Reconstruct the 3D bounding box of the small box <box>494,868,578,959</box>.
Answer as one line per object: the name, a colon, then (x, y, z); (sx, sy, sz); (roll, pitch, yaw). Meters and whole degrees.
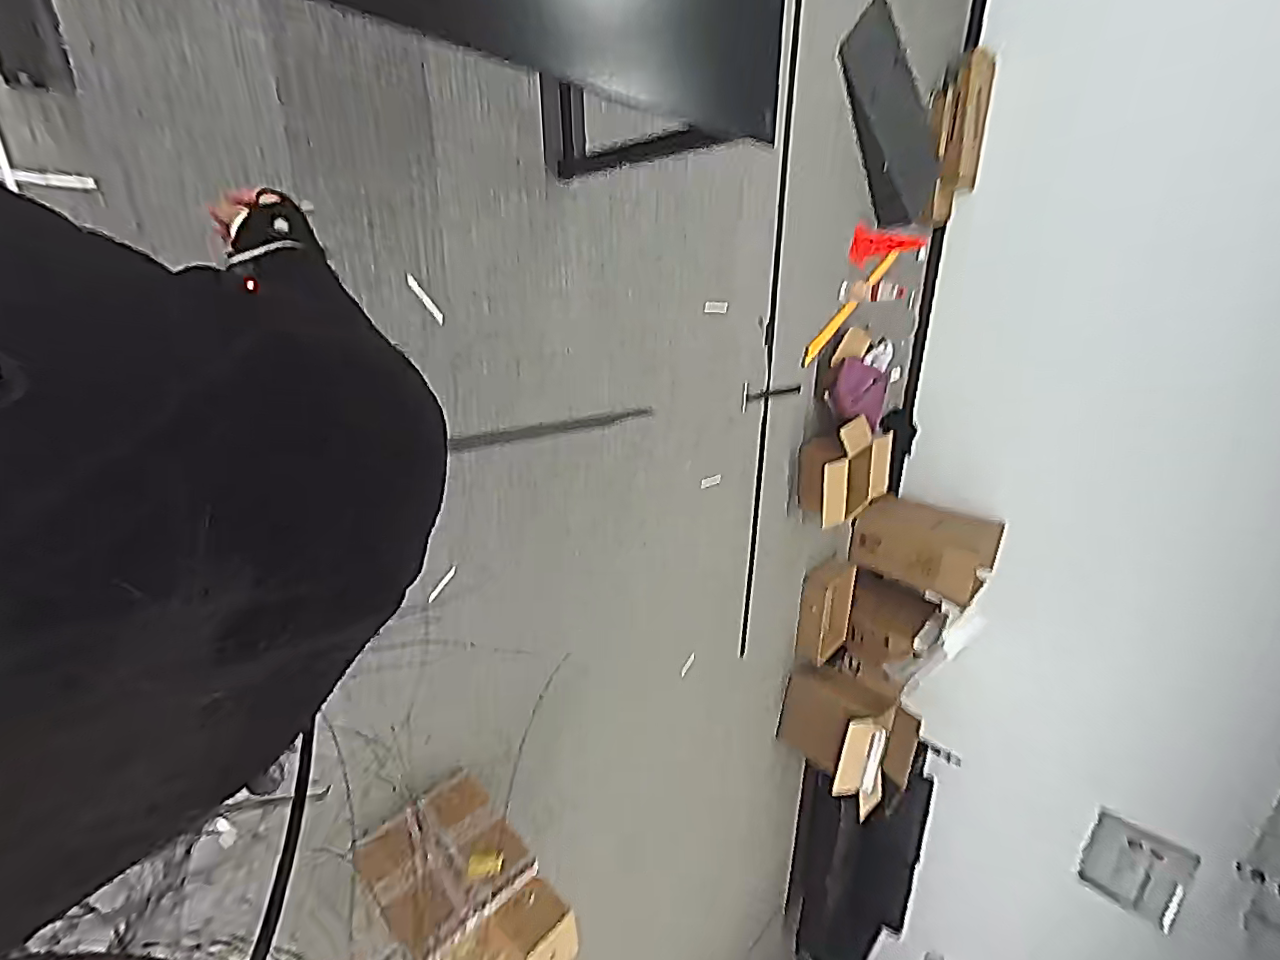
small box: (-0.304, 1.293, 1.576); (0.168, 0.176, 0.179); (-24, 116, -41)
